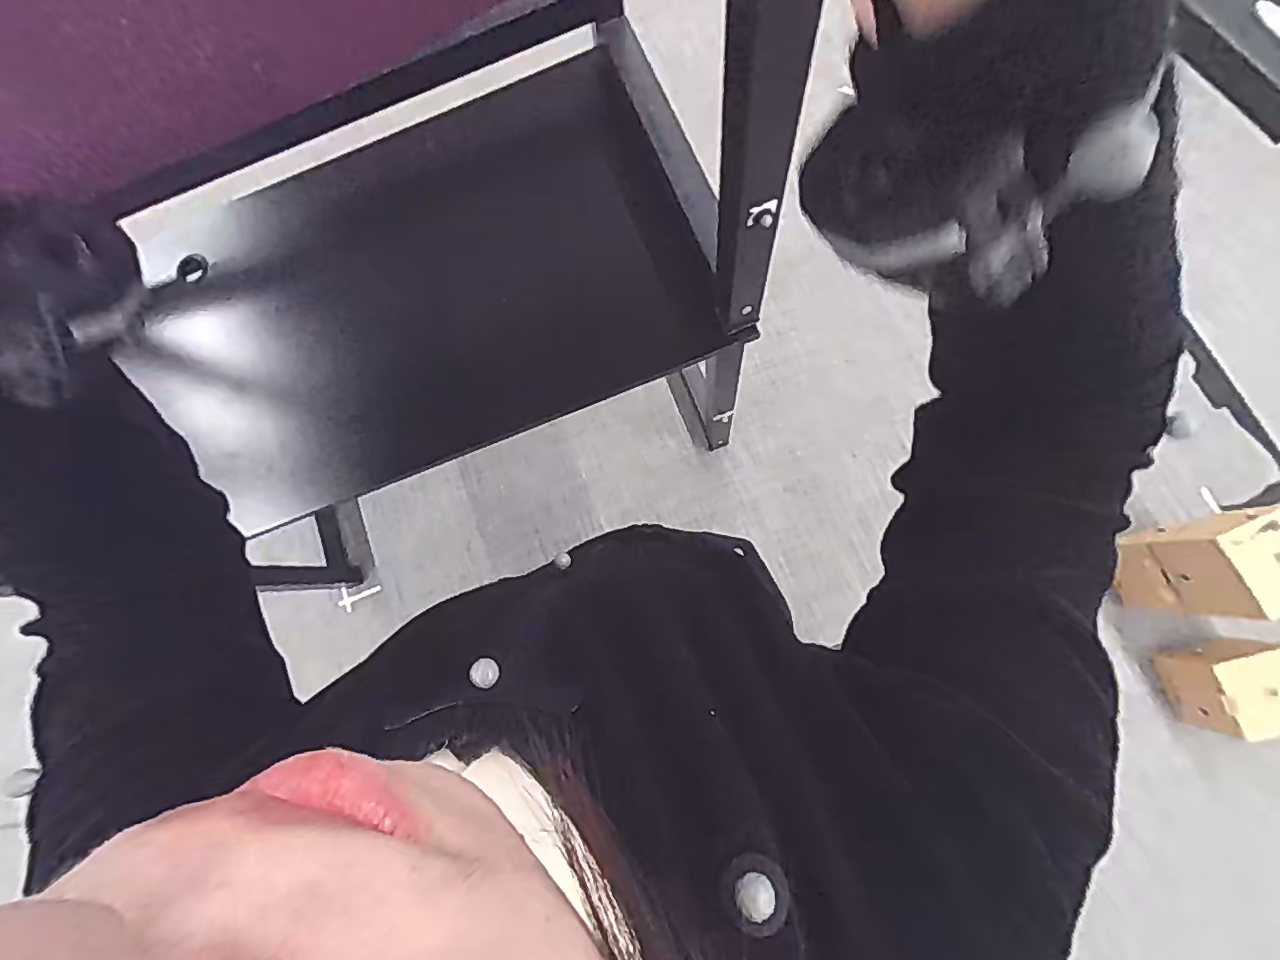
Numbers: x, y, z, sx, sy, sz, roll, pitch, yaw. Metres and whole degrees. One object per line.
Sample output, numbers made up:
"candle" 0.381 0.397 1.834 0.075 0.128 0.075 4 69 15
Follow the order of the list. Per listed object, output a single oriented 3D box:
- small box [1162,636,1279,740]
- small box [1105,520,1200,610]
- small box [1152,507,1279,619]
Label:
"small box" 1.348 0.461 1.221 0.179 0.176 0.168 -17 79 3
"small box" 1.256 0.199 1.274 0.179 0.176 0.168 -20 79 2
"small box" 1.240 0.166 1.114 0.168 0.176 0.179 -24 79 1
